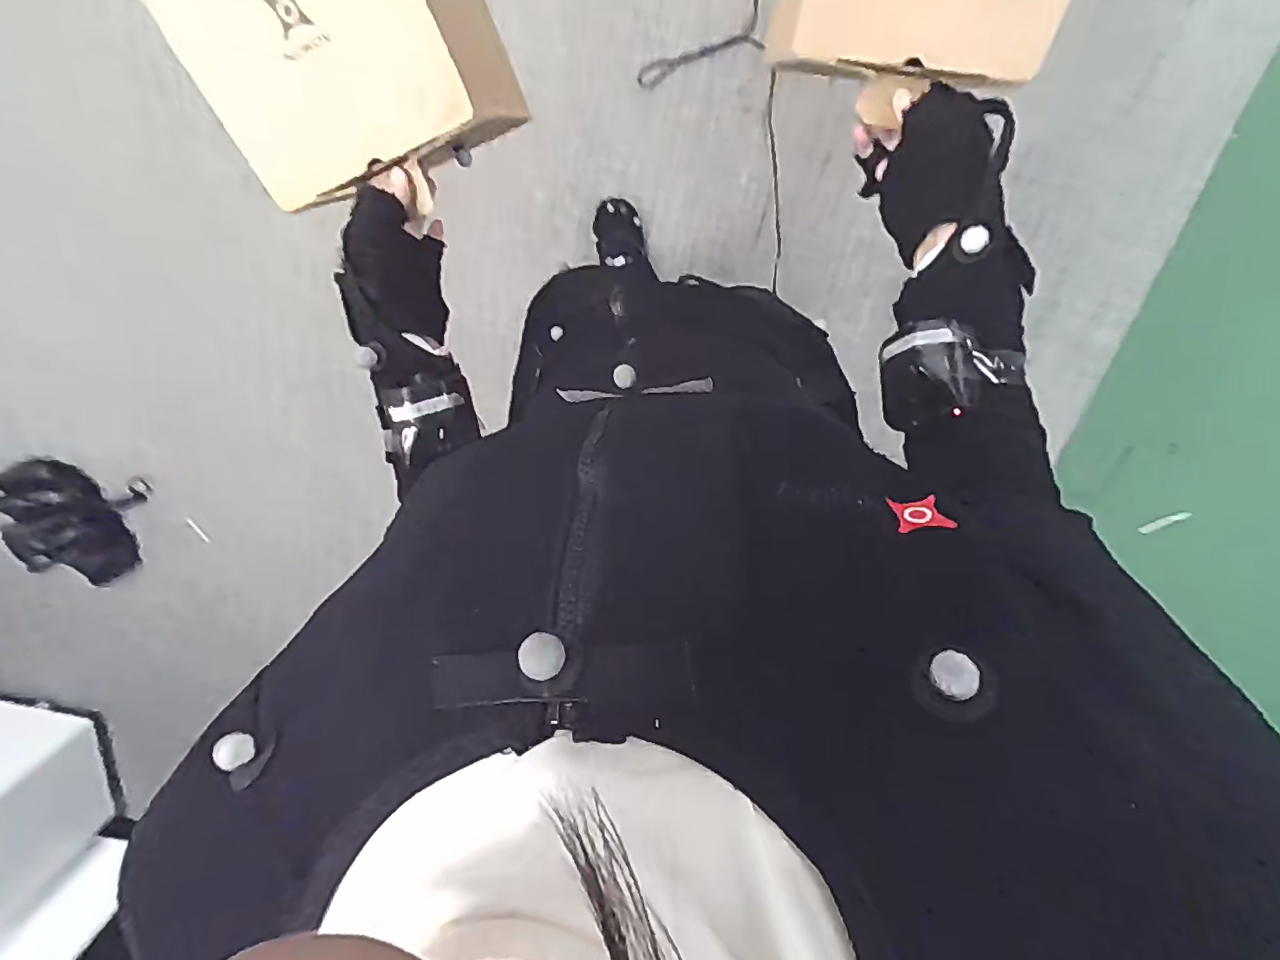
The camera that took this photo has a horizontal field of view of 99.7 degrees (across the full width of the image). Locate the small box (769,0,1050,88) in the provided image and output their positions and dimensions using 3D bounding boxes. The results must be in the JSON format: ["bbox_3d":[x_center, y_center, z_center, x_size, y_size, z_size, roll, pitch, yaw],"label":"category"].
[{"bbox_3d":[0.195,-0.399,0.386,0.168,0.176,0.179,8,127,1],"label":"small box"}]

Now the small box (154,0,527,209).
[{"bbox_3d":[-0.206,-0.333,0.404,0.168,0.176,0.179,-17,120,15],"label":"small box"}]
